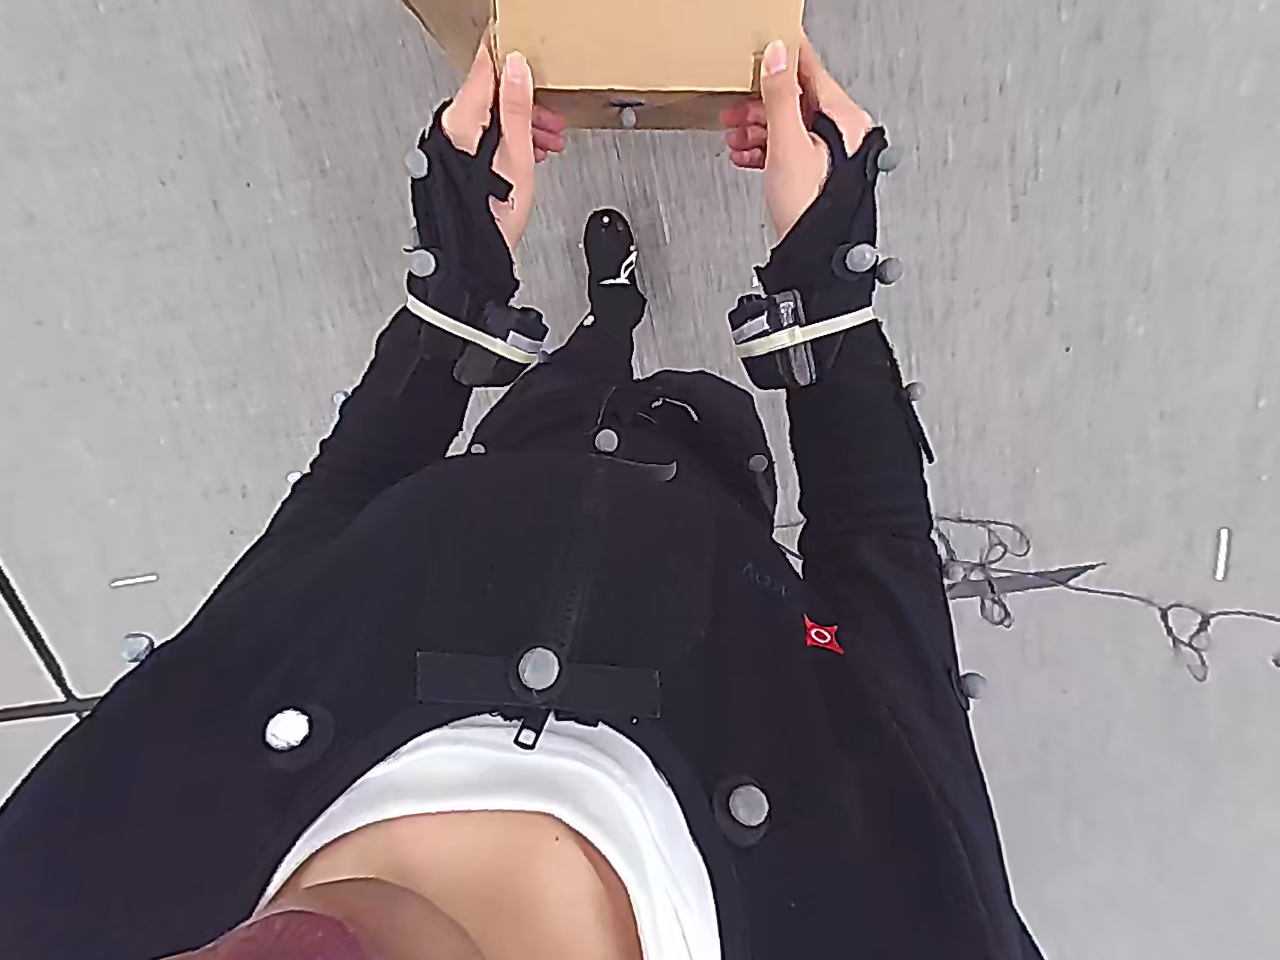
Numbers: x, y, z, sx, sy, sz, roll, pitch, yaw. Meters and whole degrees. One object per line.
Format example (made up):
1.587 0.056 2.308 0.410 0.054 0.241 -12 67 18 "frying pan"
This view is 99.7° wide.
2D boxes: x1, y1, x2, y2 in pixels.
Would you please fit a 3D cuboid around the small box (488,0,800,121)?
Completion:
0.005 -0.344 0.351 0.179 0.176 0.168 1 116 0 "small box"
